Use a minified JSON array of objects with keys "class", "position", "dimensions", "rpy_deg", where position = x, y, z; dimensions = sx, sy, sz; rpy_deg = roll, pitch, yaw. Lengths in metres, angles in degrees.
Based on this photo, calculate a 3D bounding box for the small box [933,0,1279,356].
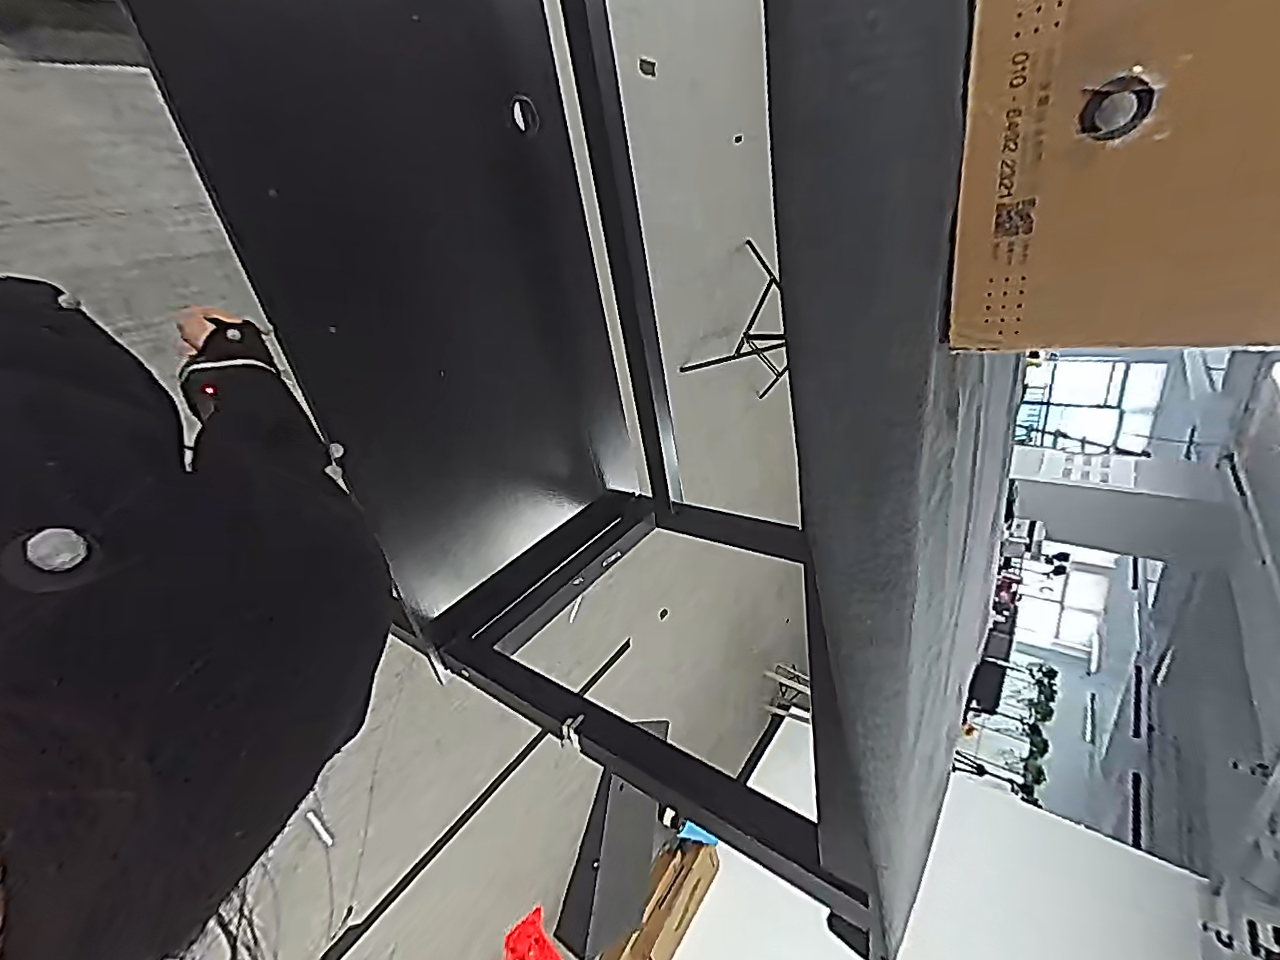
[{"class":"small box","position":[0.260,-0.167,0.267],"dimensions":[0.179,0.176,0.168],"rpy_deg":[-39,127,-43]}]
